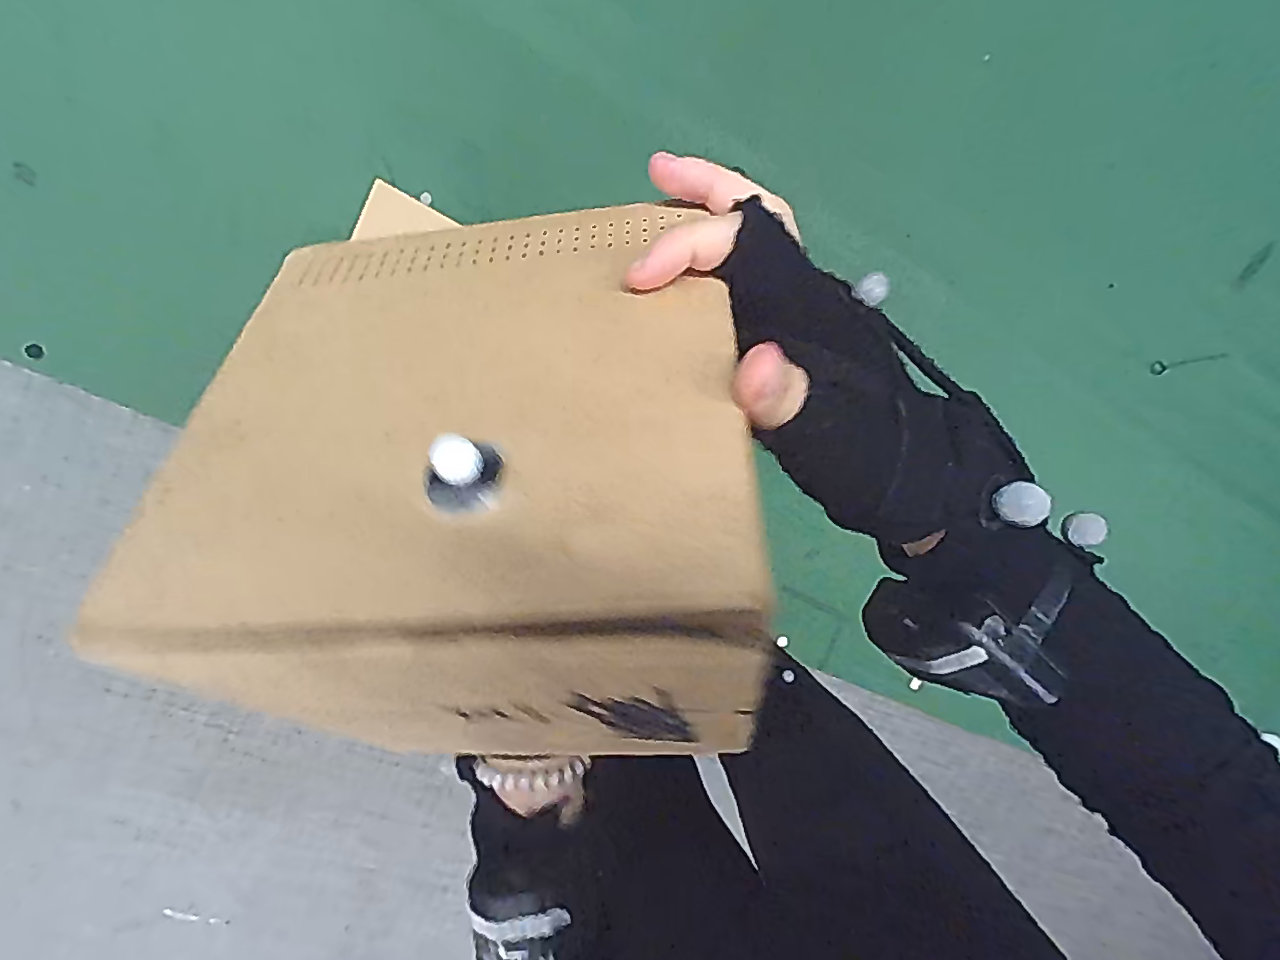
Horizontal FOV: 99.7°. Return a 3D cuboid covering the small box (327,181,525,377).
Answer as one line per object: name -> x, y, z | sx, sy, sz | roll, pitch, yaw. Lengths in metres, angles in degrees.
small box -> -0.268, -0.251, 0.720 | 0.179, 0.176, 0.168 | 26, 98, -15
